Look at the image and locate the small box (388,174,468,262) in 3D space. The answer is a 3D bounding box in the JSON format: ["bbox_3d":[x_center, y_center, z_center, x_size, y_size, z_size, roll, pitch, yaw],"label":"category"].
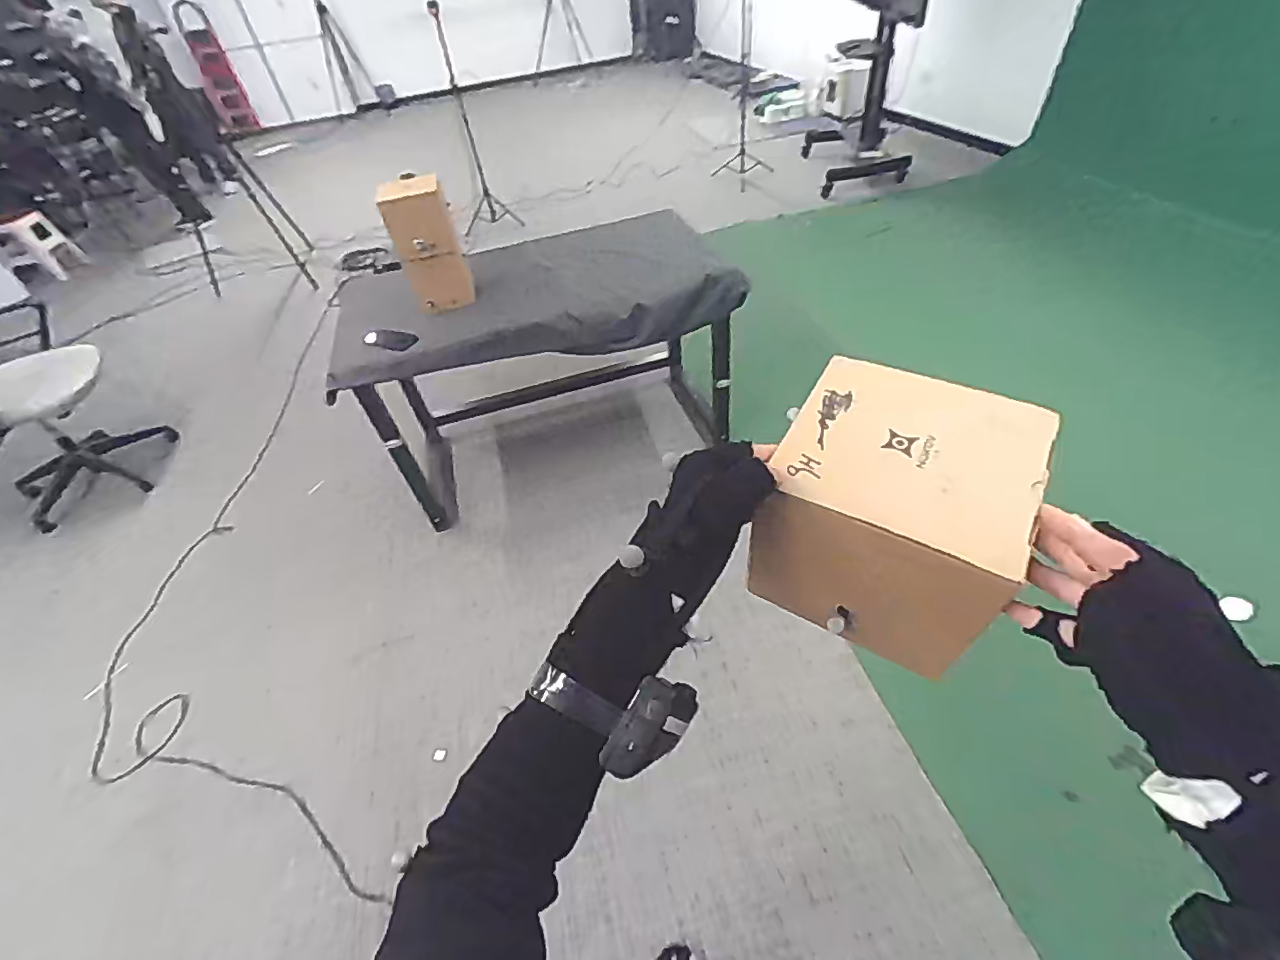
[{"bbox_3d":[-0.604,-0.753,1.557,0.168,0.176,0.179,-15,46,-6],"label":"small box"}]

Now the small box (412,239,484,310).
[{"bbox_3d":[-0.590,-0.642,1.675,0.168,0.176,0.179,-14,44,-6],"label":"small box"}]

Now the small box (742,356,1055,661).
[{"bbox_3d":[0.203,0.029,0.461,0.179,0.176,0.168,24,56,23],"label":"small box"}]
